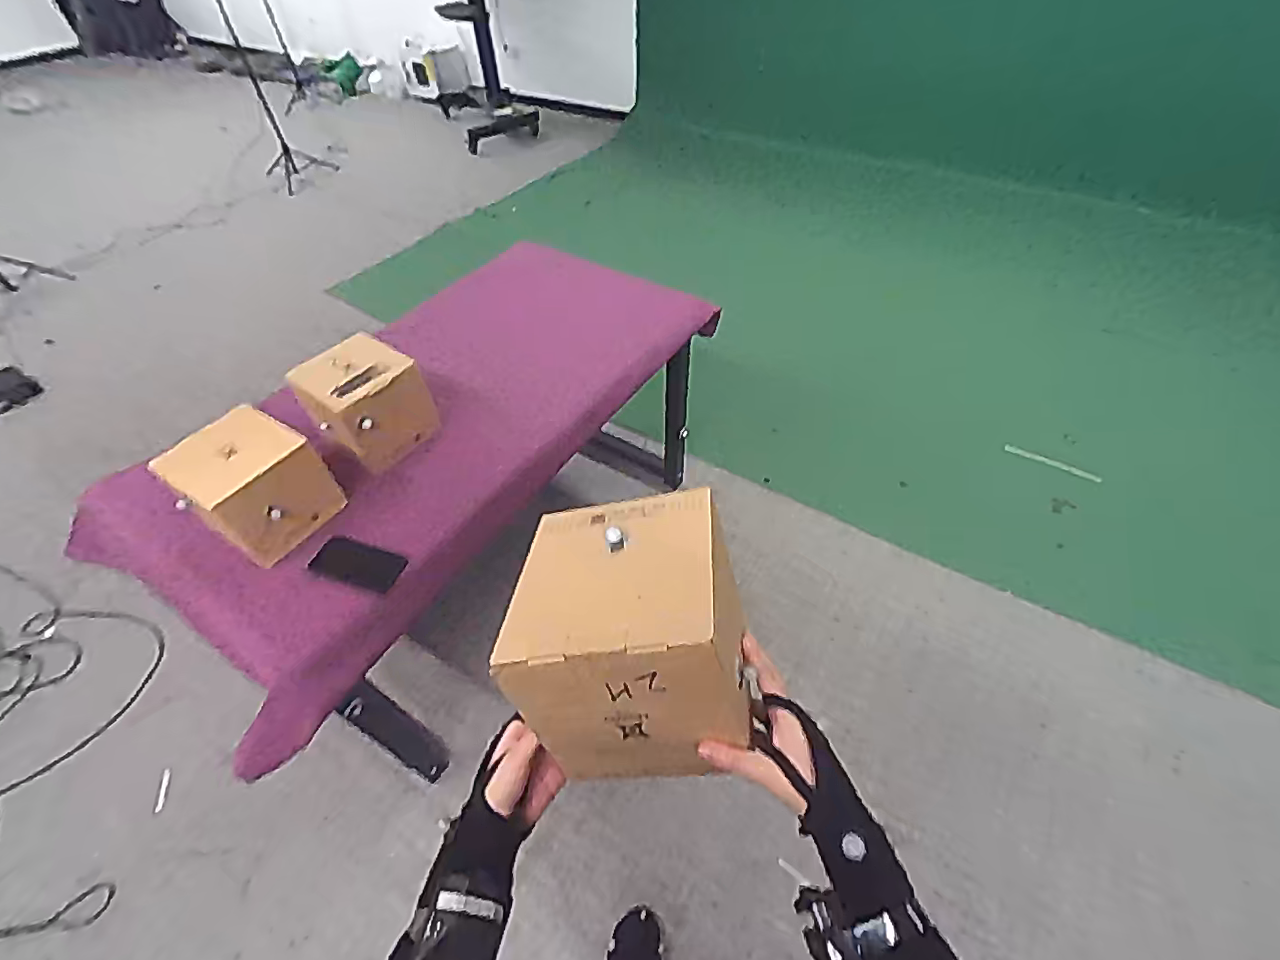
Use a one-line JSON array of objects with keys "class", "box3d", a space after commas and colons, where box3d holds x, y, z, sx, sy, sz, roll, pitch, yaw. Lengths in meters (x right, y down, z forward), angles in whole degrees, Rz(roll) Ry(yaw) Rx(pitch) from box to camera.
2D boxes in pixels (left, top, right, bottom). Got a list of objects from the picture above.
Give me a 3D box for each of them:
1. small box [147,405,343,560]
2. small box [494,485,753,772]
[{"class": "small box", "box3d": [-0.645, 0.009, 0.906, 0.179, 0.176, 0.168, 24, 54, 21]}, {"class": "small box", "box3d": [0.003, 0.129, 0.478, 0.168, 0.179, 0.176, -10, 33, 13]}]
